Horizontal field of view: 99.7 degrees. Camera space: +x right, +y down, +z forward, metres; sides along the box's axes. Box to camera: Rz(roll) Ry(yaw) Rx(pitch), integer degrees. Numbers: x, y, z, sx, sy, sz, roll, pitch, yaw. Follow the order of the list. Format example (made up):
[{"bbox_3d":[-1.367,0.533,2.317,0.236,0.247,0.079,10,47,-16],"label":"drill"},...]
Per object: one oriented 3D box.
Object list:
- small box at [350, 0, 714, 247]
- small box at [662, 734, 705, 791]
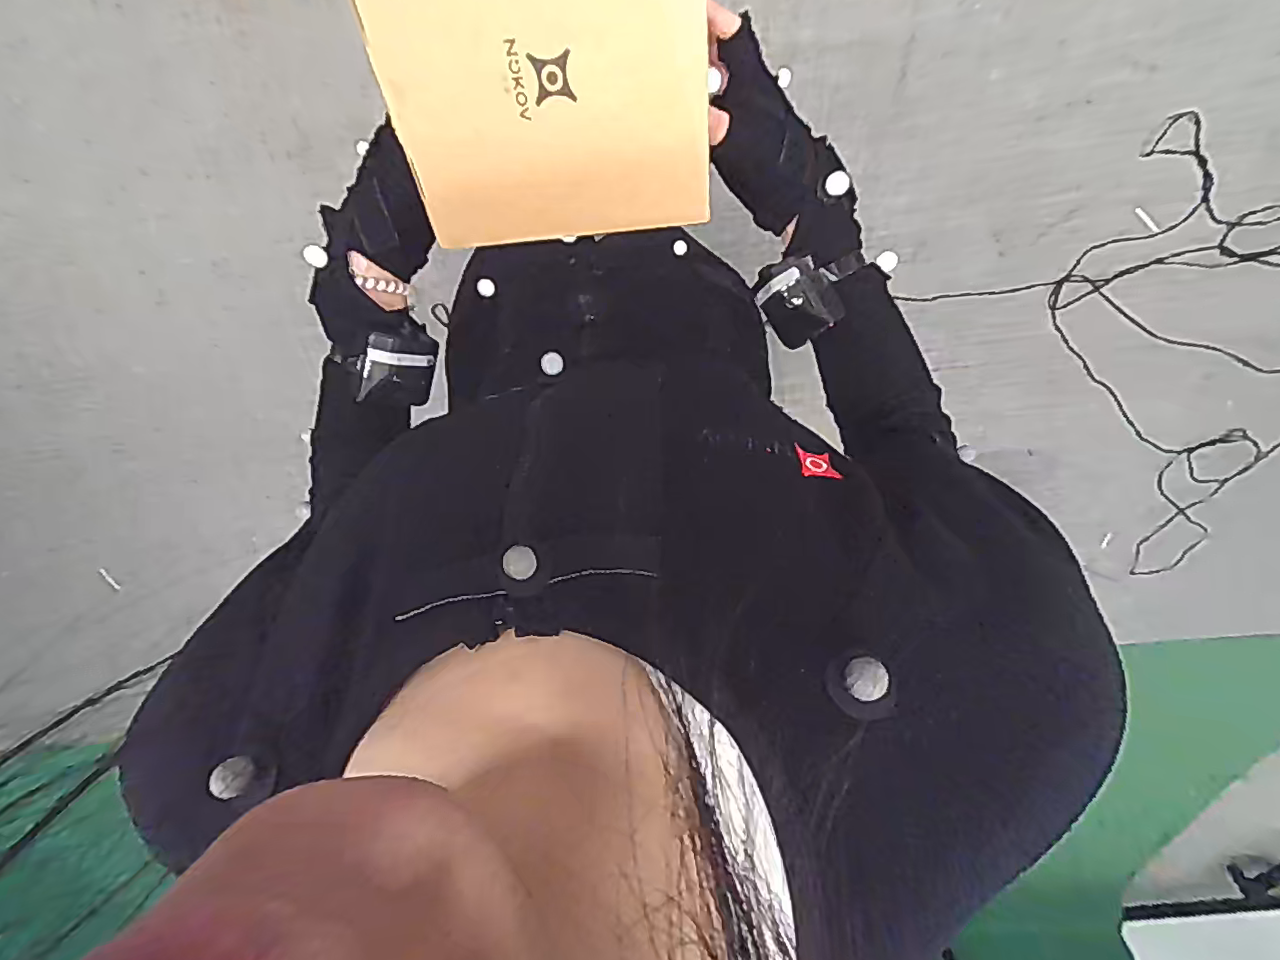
[{"bbox_3d":[-0.051,-0.267,0.336,0.179,0.176,0.168,-4,135,4],"label":"small box"},{"bbox_3d":[0.197,1.292,2.478,0.179,0.176,0.168,-9,124,3],"label":"small box"}]
